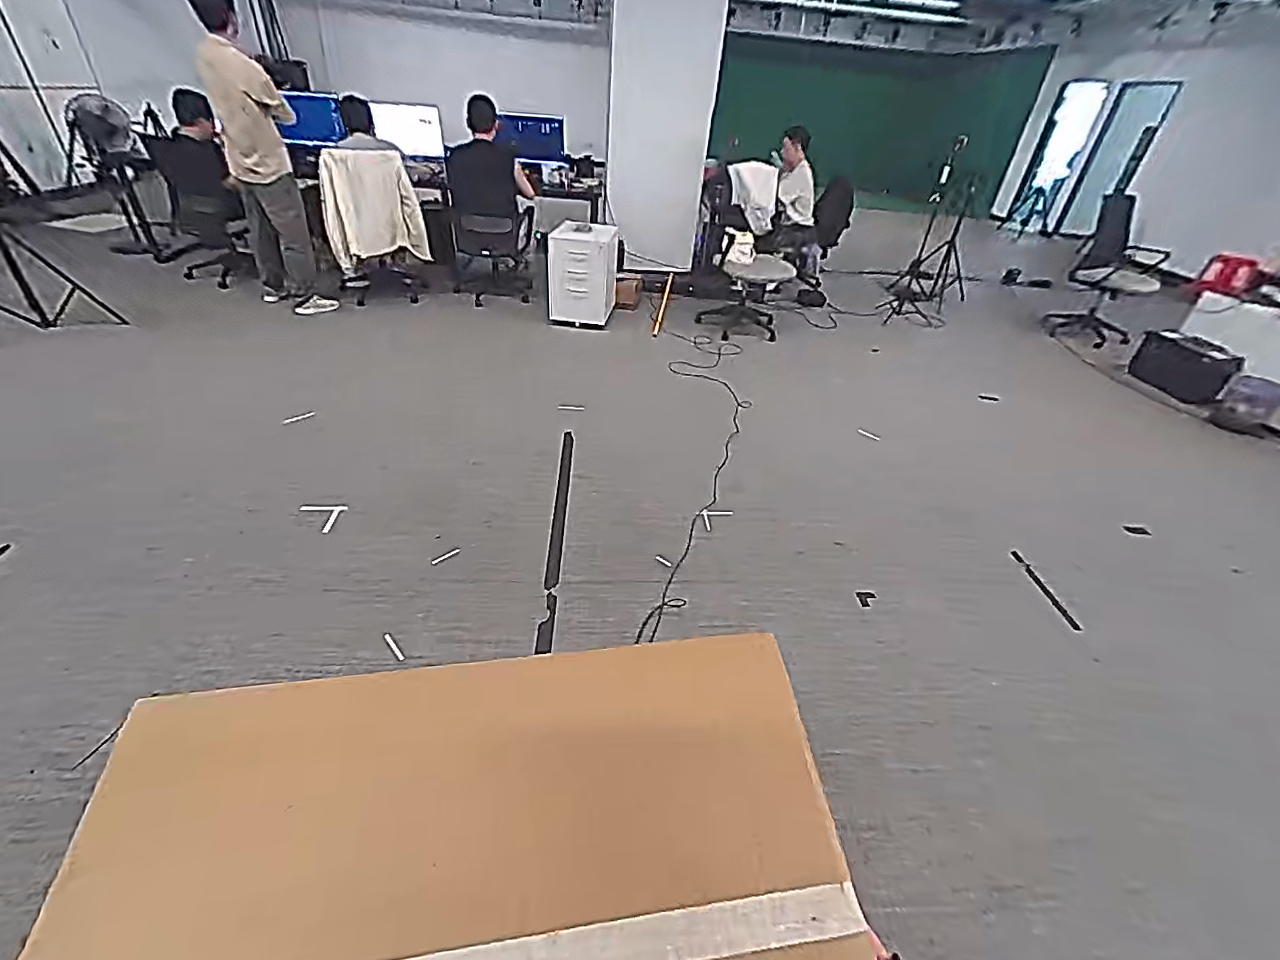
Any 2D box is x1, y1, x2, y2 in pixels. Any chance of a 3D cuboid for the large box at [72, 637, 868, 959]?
[{"bbox_3d":[-0.089,0.341,0.385,0.408,0.320,0.320,-4,51,-7],"label":"large box"}]
